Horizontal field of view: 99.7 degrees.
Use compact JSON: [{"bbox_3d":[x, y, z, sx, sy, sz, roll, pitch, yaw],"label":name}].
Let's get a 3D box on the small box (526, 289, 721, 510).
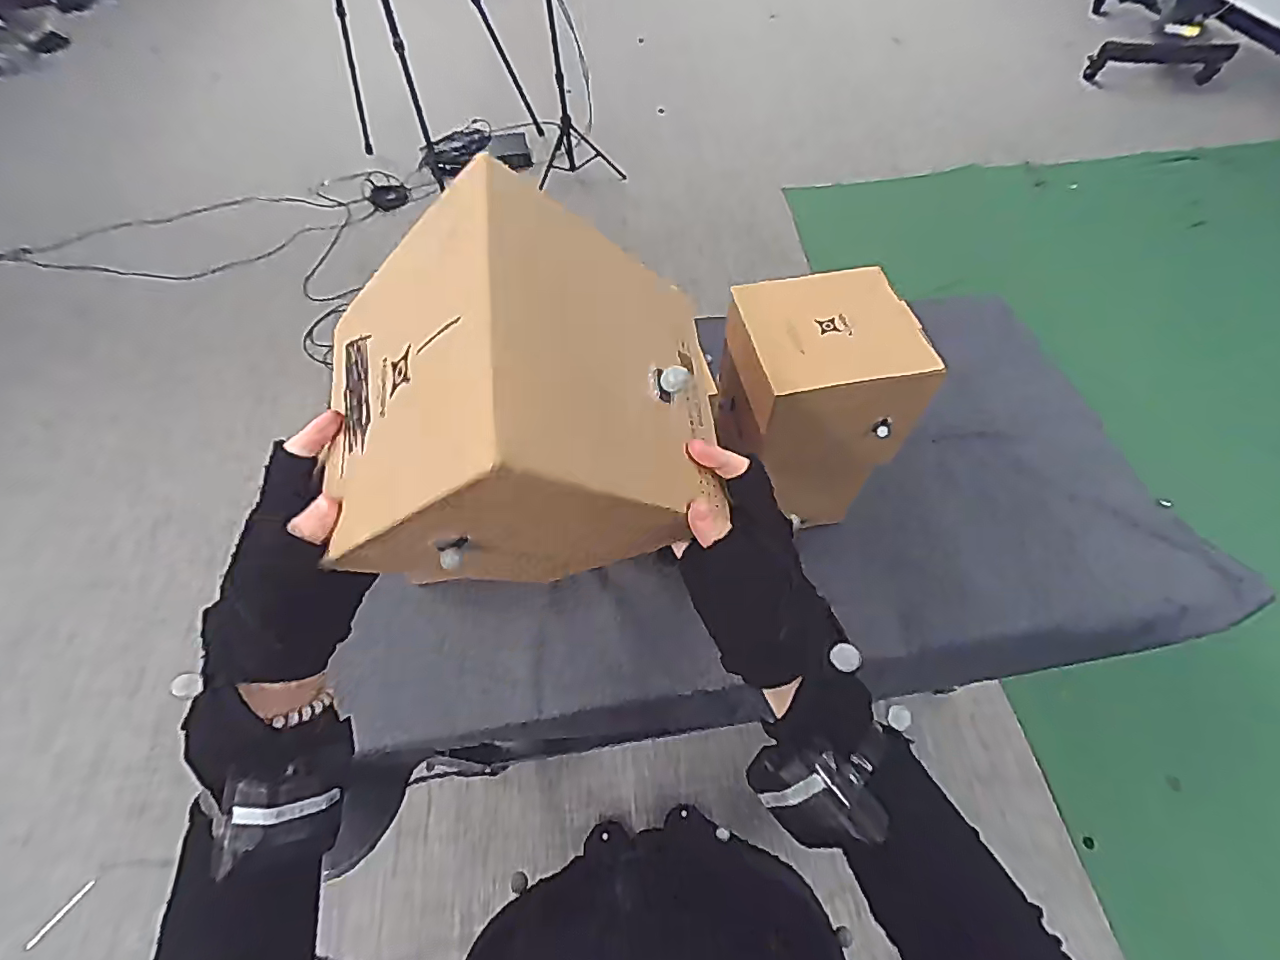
[{"bbox_3d":[-0.018,-0.086,0.624,0.179,0.176,0.168,-14,58,-6],"label":"small box"}]
